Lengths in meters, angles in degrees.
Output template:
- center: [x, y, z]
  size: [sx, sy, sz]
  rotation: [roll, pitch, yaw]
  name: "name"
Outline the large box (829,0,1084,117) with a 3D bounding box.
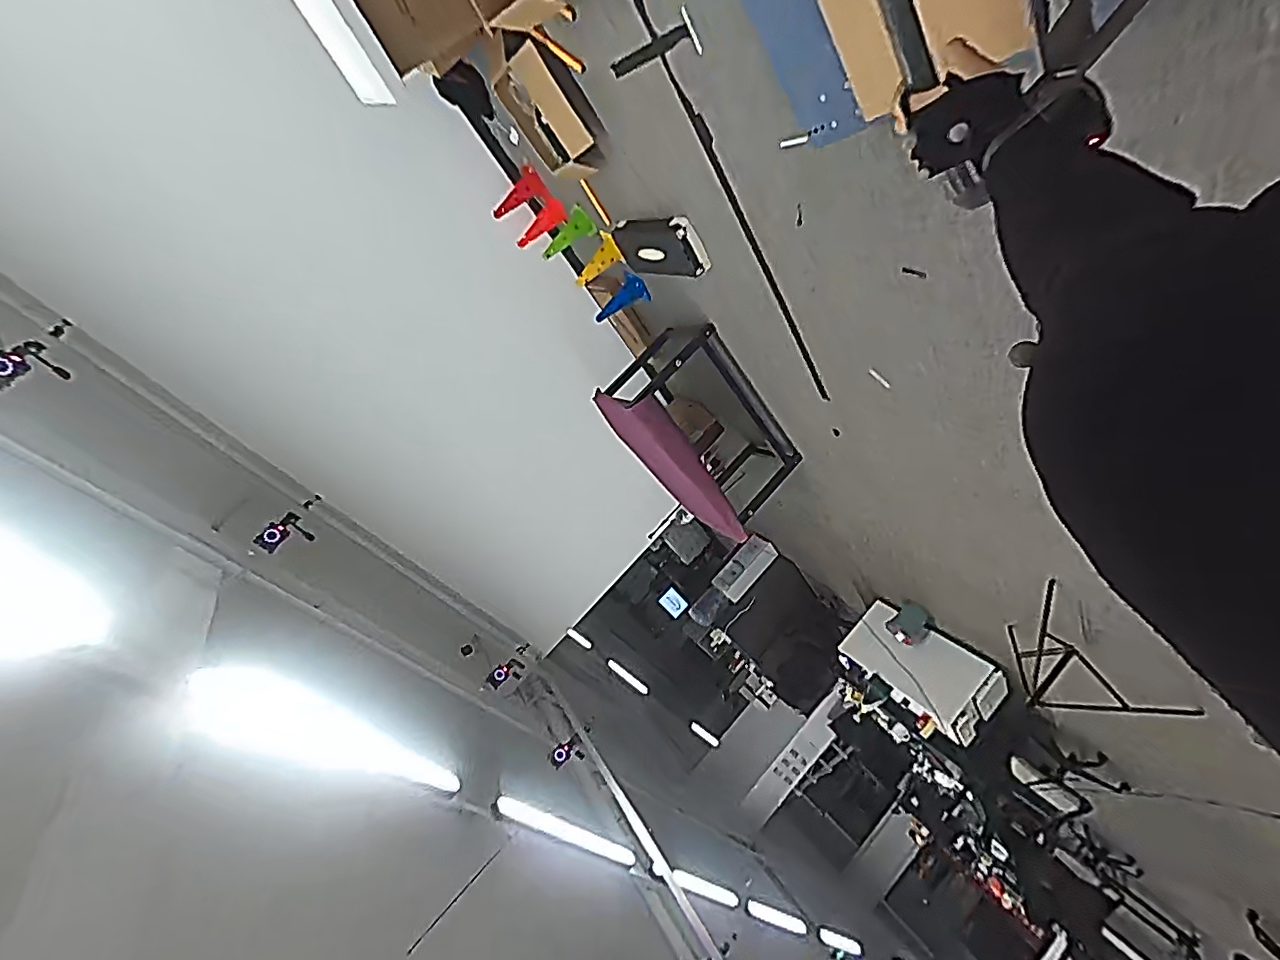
- center: [0.503, -0.893, 0.833]
  size: [0.408, 0.320, 0.320]
  rotation: [50, 168, -27]
  name: "large box"
